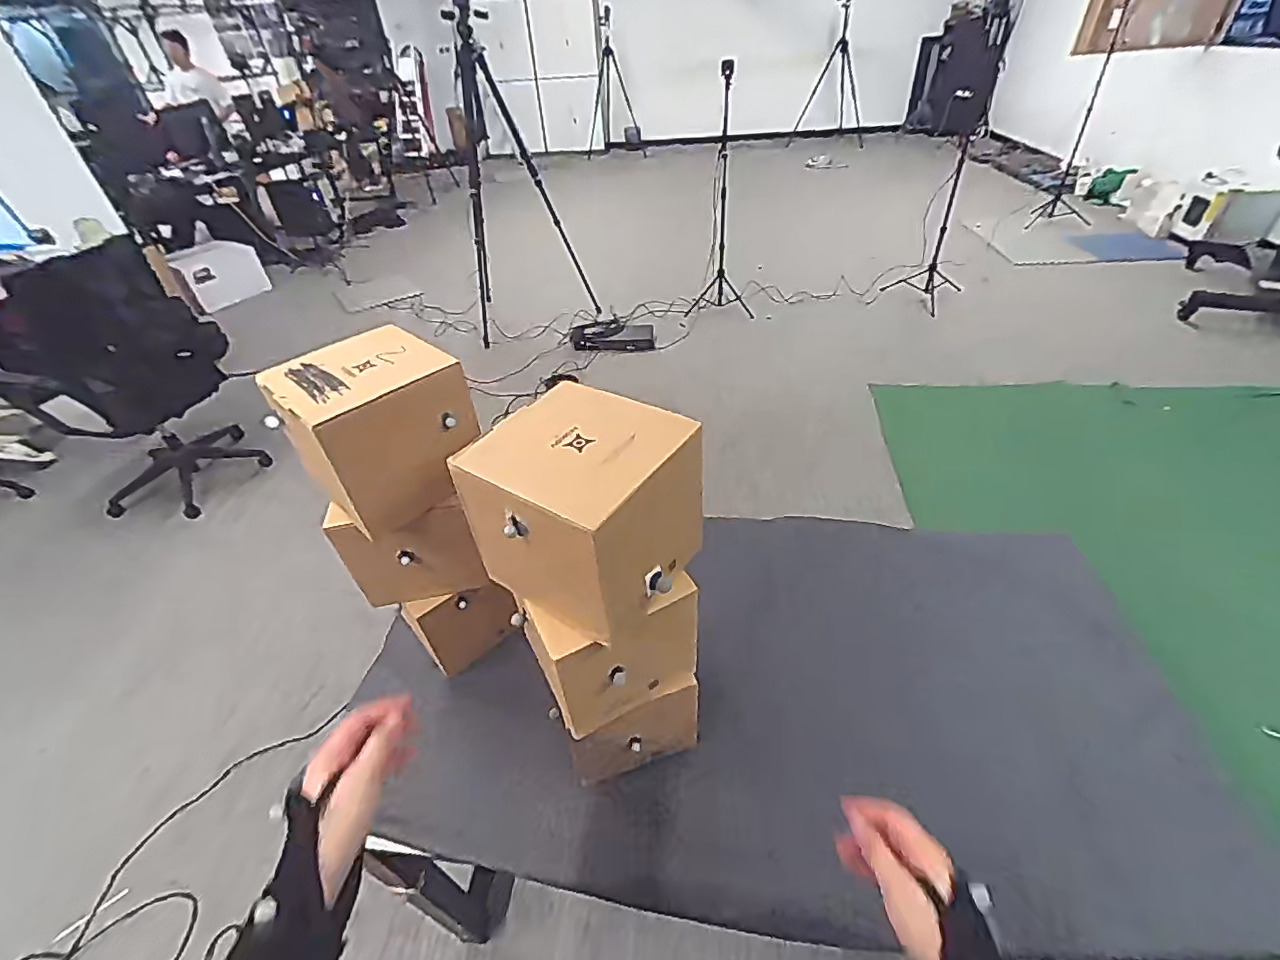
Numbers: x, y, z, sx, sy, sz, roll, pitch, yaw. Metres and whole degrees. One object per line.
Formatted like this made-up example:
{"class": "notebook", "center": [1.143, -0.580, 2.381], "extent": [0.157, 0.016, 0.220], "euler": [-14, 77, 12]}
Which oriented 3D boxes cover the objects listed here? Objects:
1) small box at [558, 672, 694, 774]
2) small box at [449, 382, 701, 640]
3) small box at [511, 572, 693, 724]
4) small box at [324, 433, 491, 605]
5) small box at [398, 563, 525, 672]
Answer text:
{"class": "small box", "center": [-0.030, 0.278, 0.751], "extent": [0.168, 0.176, 0.179], "euler": [-14, 40, -12]}
{"class": "small box", "center": [-0.053, 0.028, 0.546], "extent": [0.179, 0.176, 0.168], "euler": [22, 48, 28]}
{"class": "small box", "center": [-0.047, 0.158, 0.643], "extent": [0.168, 0.176, 0.179], "euler": [-22, 42, -20]}
{"class": "small box", "center": [-0.318, 0.057, 0.788], "extent": [0.179, 0.176, 0.168], "euler": [-11, 41, -6]}
{"class": "small box", "center": [-0.306, 0.179, 0.898], "extent": [0.168, 0.176, 0.179], "euler": [-33, 48, -29]}
